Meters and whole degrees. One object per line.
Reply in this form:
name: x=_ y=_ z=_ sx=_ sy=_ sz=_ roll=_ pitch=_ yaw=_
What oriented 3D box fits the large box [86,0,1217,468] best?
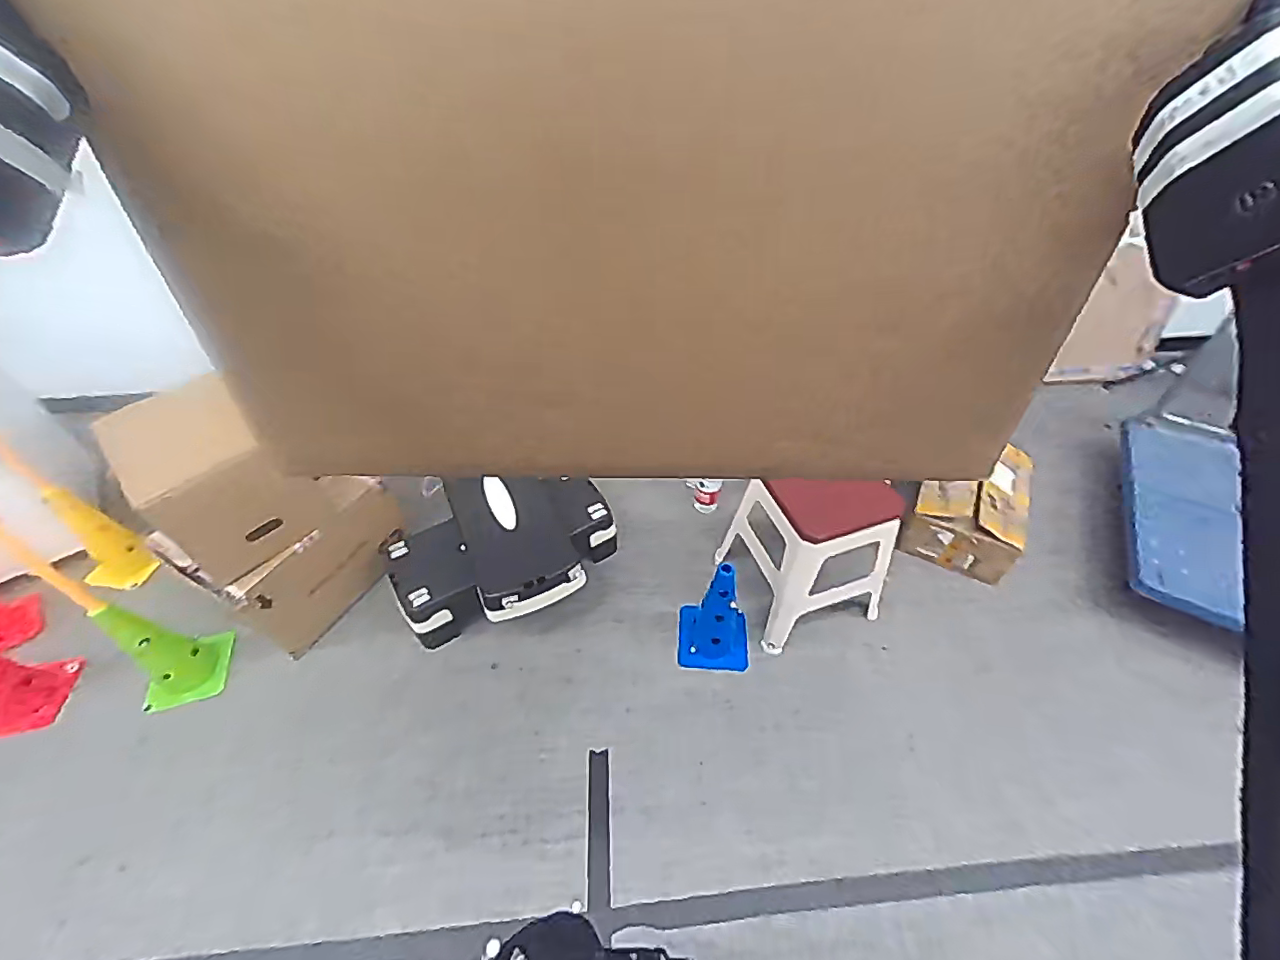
large box: x=0.002 y=-0.217 z=0.334 sx=0.408 sy=0.320 sz=0.320 roll=1 pitch=40 yaw=-1
